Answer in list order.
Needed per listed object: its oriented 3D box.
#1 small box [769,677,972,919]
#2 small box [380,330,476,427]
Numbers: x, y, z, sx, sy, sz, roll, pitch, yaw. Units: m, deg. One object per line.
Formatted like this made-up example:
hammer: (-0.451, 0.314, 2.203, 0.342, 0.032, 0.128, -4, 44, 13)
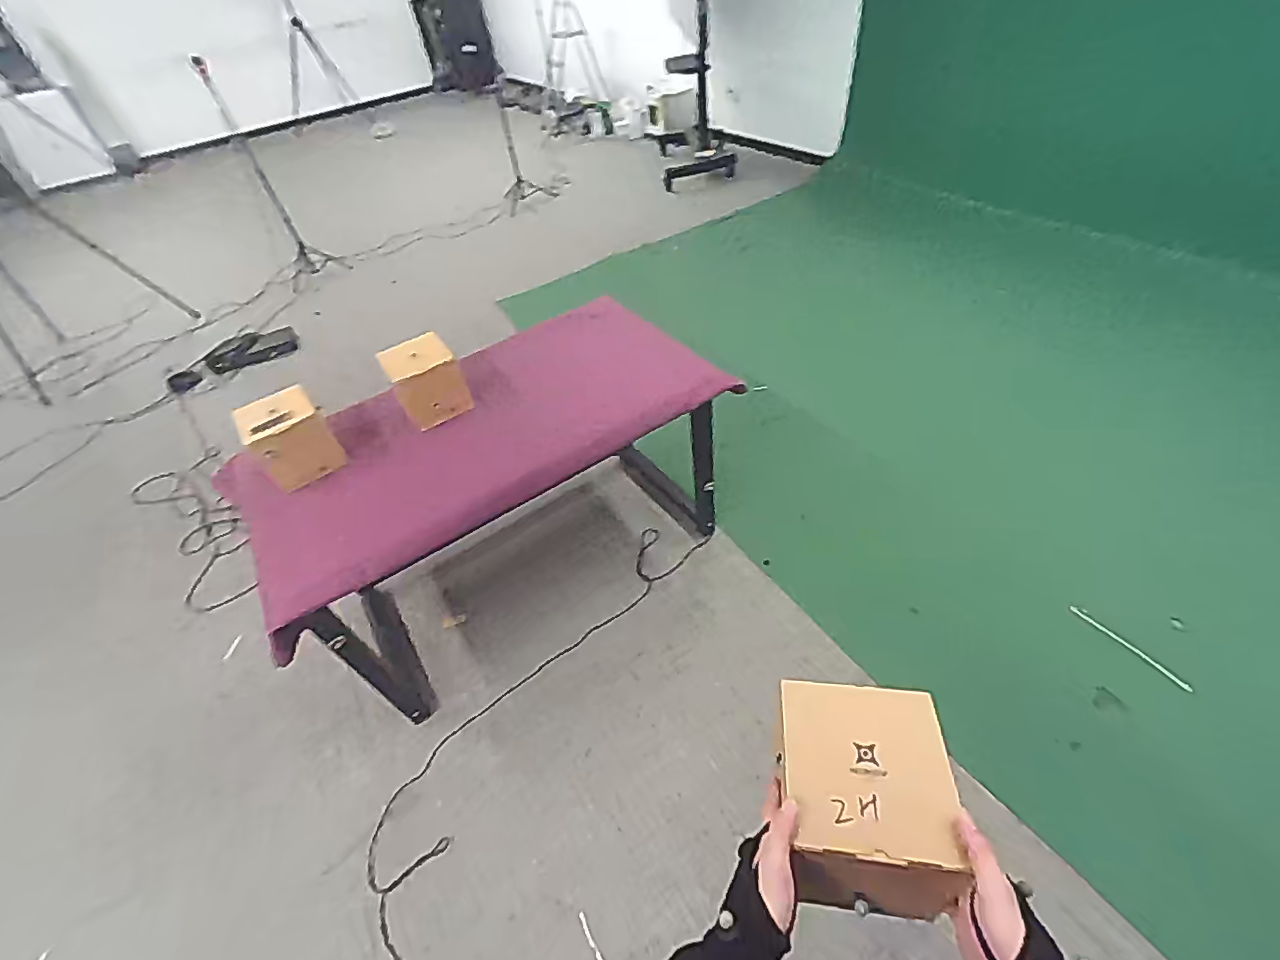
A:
small box: (0.234, 0.349, 0.603, 0.168, 0.176, 0.179, 1, 39, 10)
small box: (-0.576, -0.276, 1.479, 0.168, 0.176, 0.179, -30, 51, -19)
